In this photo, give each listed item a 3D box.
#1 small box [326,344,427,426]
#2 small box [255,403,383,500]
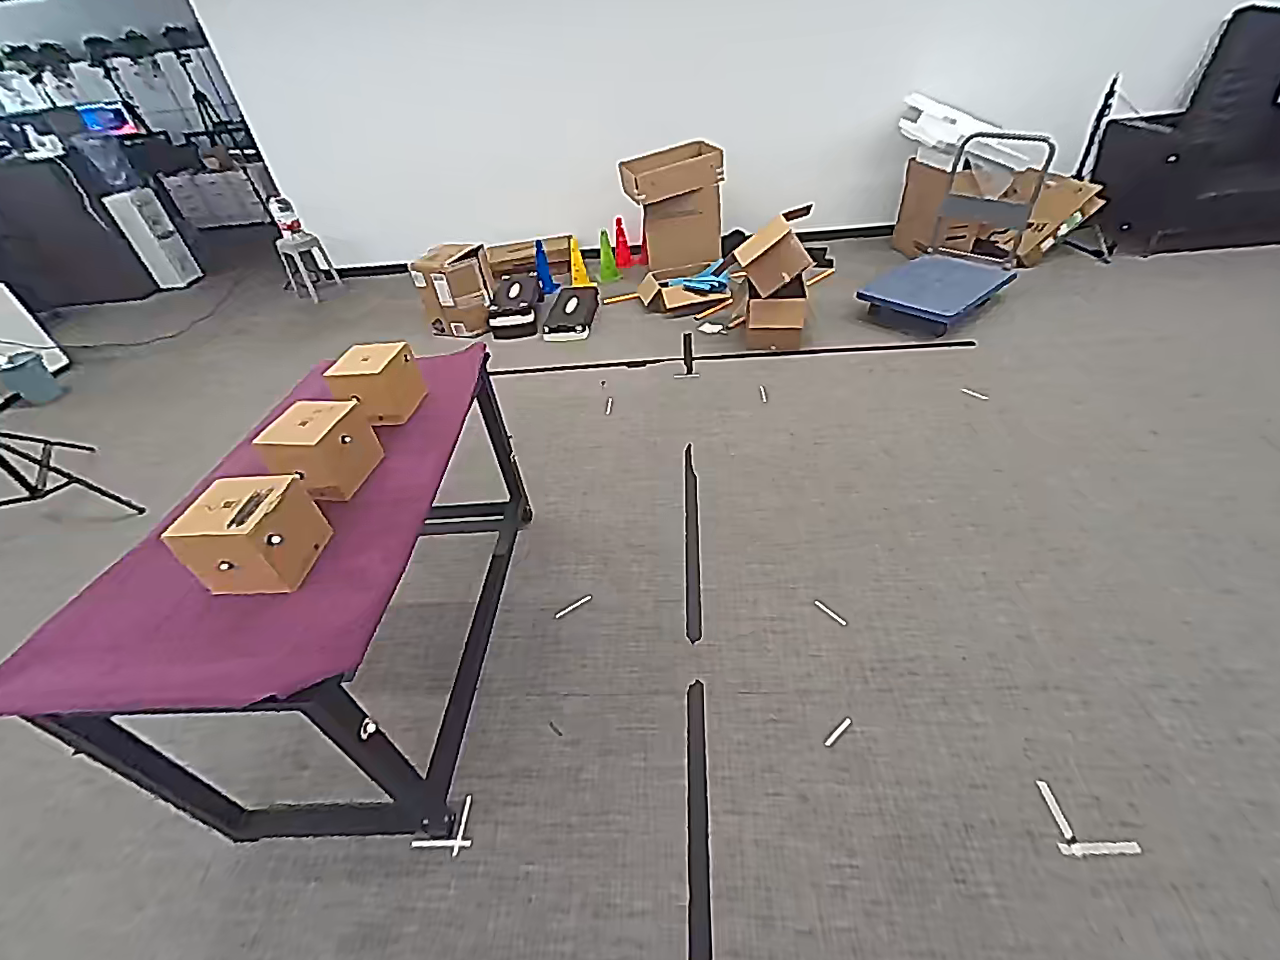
[{"bbox_3d":[-0.728,-0.261,1.517,0.168,0.176,0.179,-2,40,8],"label":"small box"},{"bbox_3d":[-0.750,-0.068,1.290,0.168,0.176,0.179,2,40,10],"label":"small box"}]
